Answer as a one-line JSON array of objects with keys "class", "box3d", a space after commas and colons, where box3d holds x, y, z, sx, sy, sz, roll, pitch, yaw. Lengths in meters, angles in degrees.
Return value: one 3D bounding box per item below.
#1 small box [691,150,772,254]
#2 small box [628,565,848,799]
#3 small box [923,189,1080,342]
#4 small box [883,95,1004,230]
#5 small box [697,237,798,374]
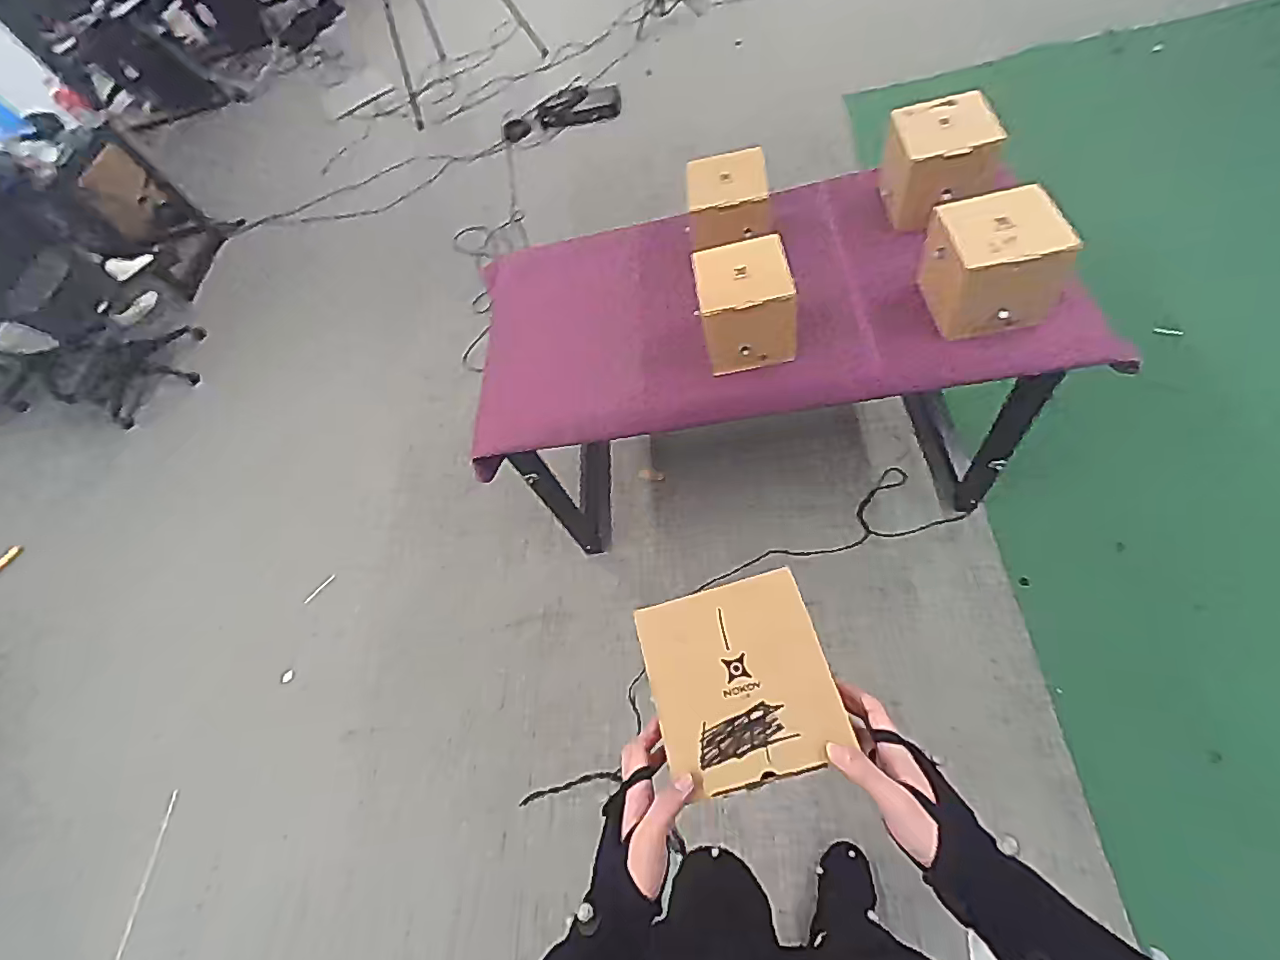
[{"class": "small box", "box3d": [0.207, -0.594, 1.212, 0.168, 0.176, 0.179, -4, 60, 12]}, {"class": "small box", "box3d": [0.099, 0.213, 0.576, 0.168, 0.176, 0.179, -17, 64, 3]}, {"class": "small box", "box3d": [0.629, -0.378, 0.970, 0.168, 0.176, 0.179, -8, 58, 12]}, {"class": "small box", "box3d": [0.622, -0.650, 1.130, 0.168, 0.176, 0.179, -6, 62, 12]}, {"class": "small box", "box3d": [0.209, -0.337, 1.062, 0.168, 0.176, 0.179, -9, 58, 9]}]
